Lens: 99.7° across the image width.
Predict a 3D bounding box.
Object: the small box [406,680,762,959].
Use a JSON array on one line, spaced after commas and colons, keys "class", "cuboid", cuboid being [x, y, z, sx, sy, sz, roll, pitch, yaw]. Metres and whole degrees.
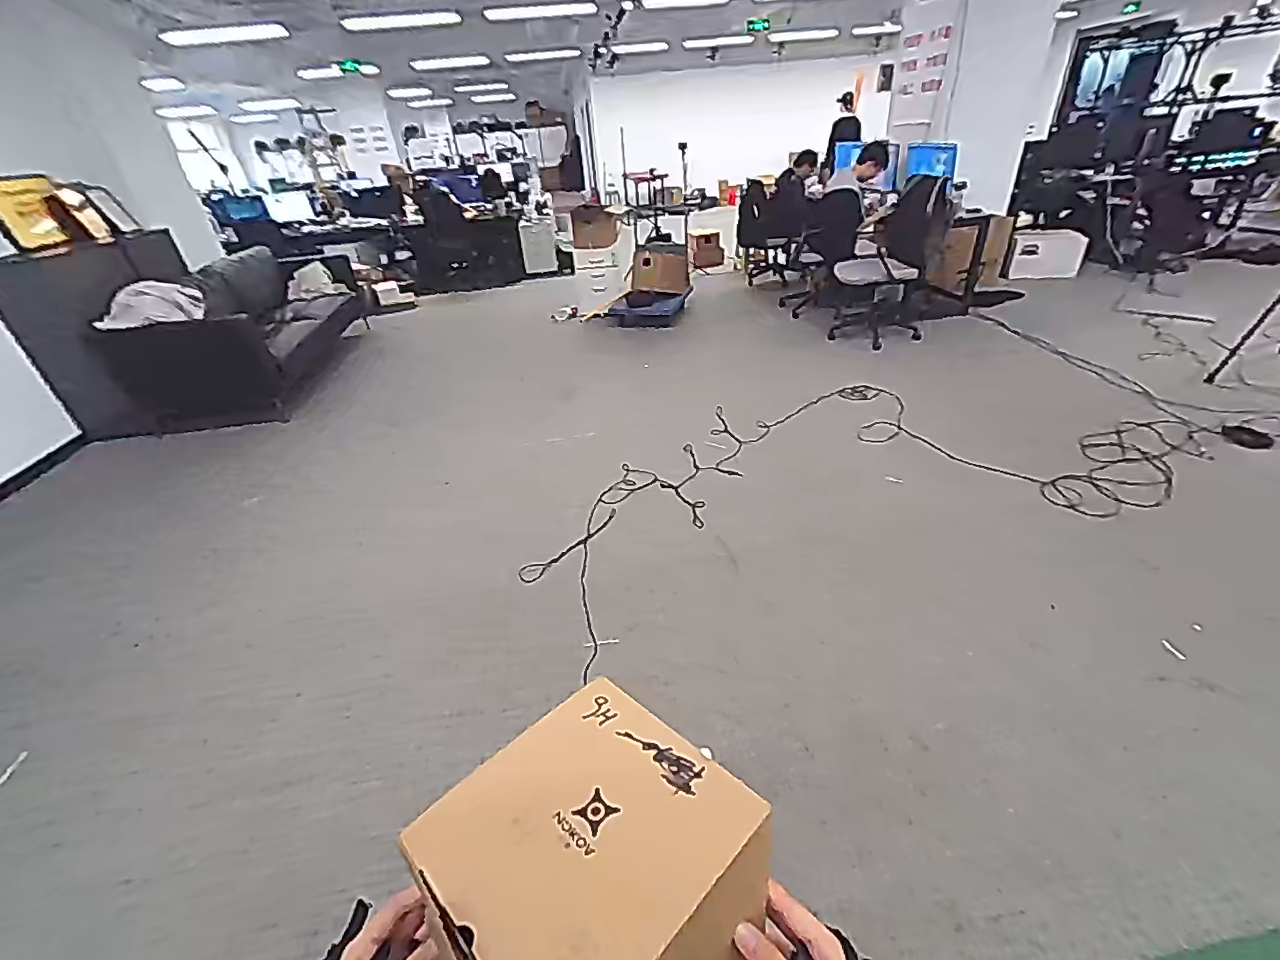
[{"class": "small box", "cuboid": [-0.028, 0.290, 0.381, 0.168, 0.176, 0.179, 21, 36, 41]}]
